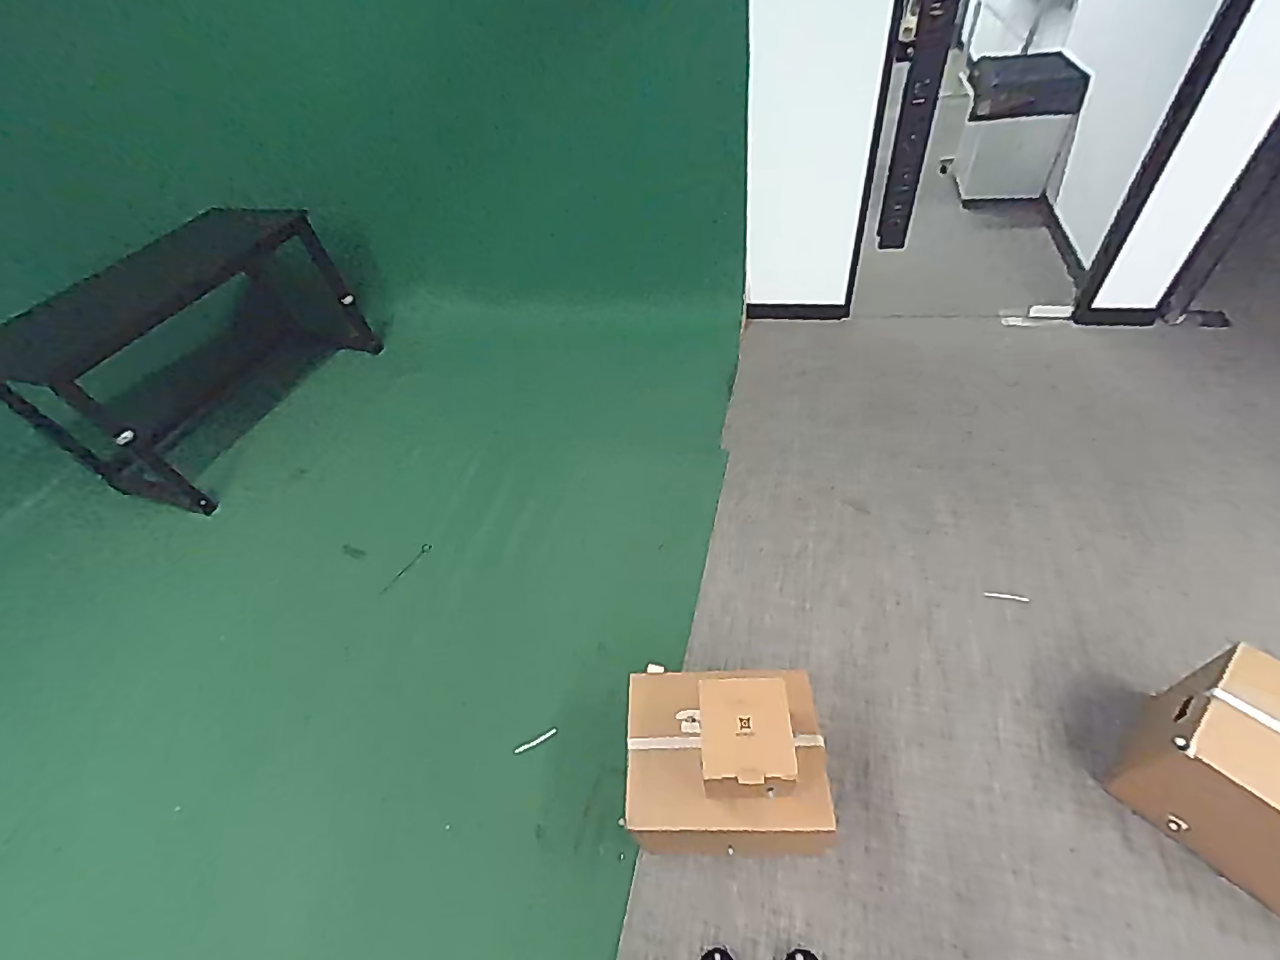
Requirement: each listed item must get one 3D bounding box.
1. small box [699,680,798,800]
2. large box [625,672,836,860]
[{"bbox_3d":[0.202,0.499,1.033,0.168,0.176,0.179,-4,48,7],"label":"small box"},{"bbox_3d":[0.193,0.657,1.227,0.408,0.320,0.320,-5,46,7],"label":"large box"}]
